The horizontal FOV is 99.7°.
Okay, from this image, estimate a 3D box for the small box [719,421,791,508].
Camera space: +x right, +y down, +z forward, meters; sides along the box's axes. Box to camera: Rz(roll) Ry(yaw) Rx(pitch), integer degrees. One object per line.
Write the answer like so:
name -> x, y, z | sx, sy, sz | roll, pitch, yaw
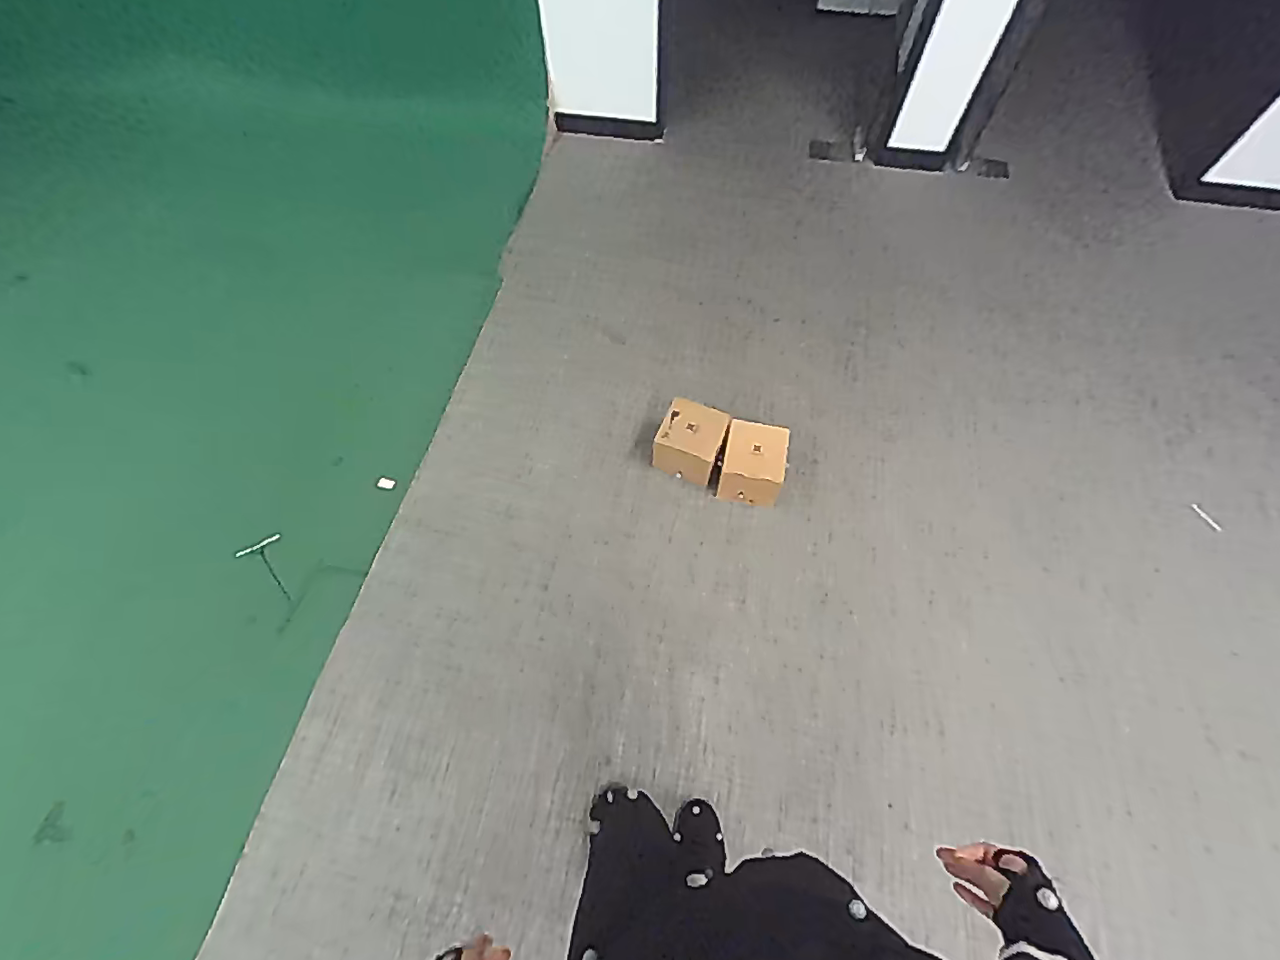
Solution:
small box -> 0.325, -0.043, 1.553 | 0.168, 0.176, 0.179 | 10, 65, 6
